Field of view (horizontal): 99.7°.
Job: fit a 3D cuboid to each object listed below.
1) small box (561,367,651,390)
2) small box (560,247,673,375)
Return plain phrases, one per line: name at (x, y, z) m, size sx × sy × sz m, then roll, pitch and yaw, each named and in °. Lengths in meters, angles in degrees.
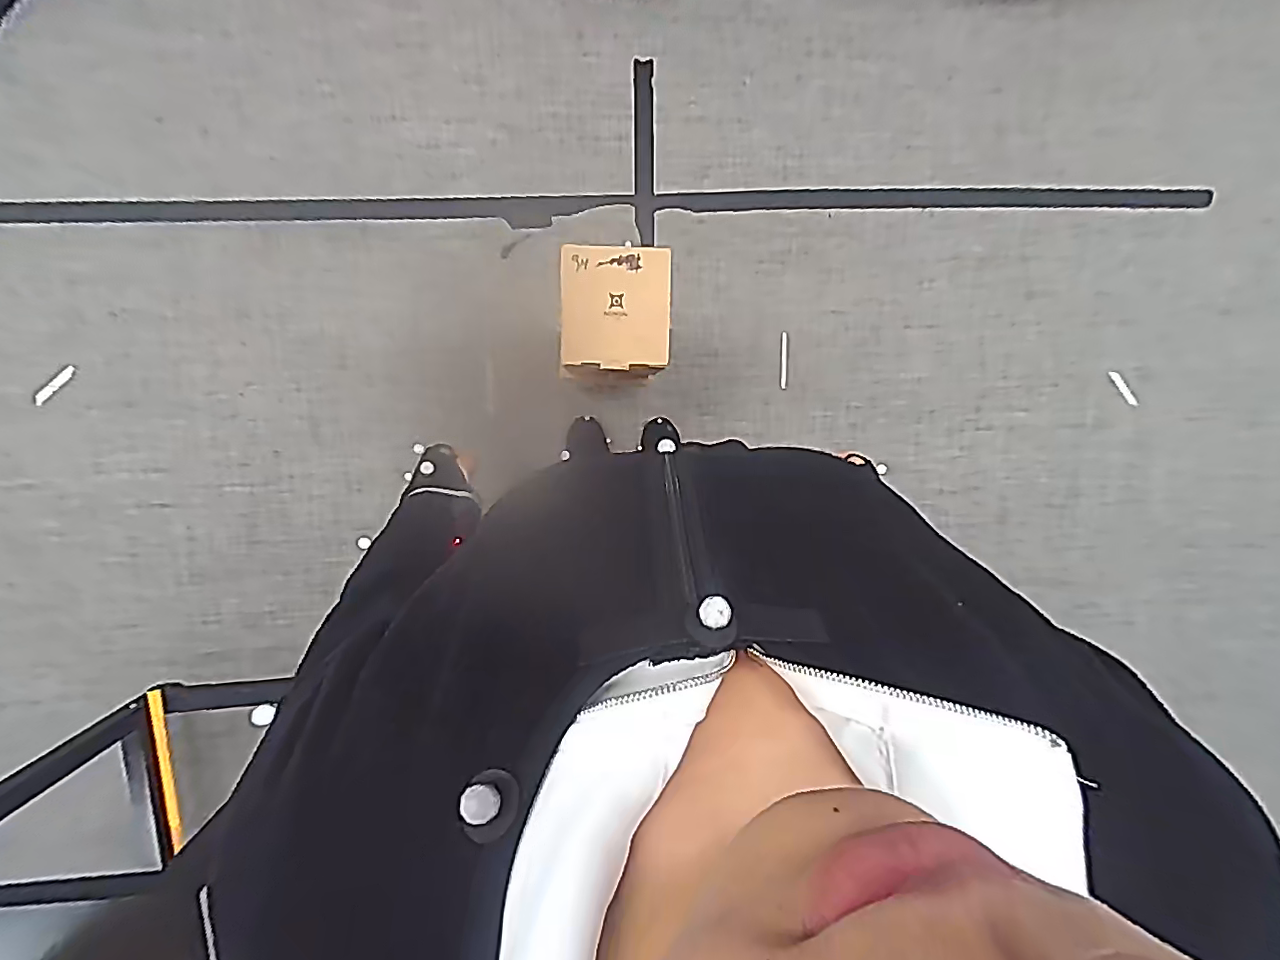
small box at (-0.061, -0.269, 1.044) m, size 0.168 × 0.176 × 0.179 m, roll 4°, pitch 98°, yaw -4°
small box at (-0.039, -0.263, 0.880) m, size 0.168 × 0.176 × 0.179 m, roll 1°, pitch 98°, yaw -4°
